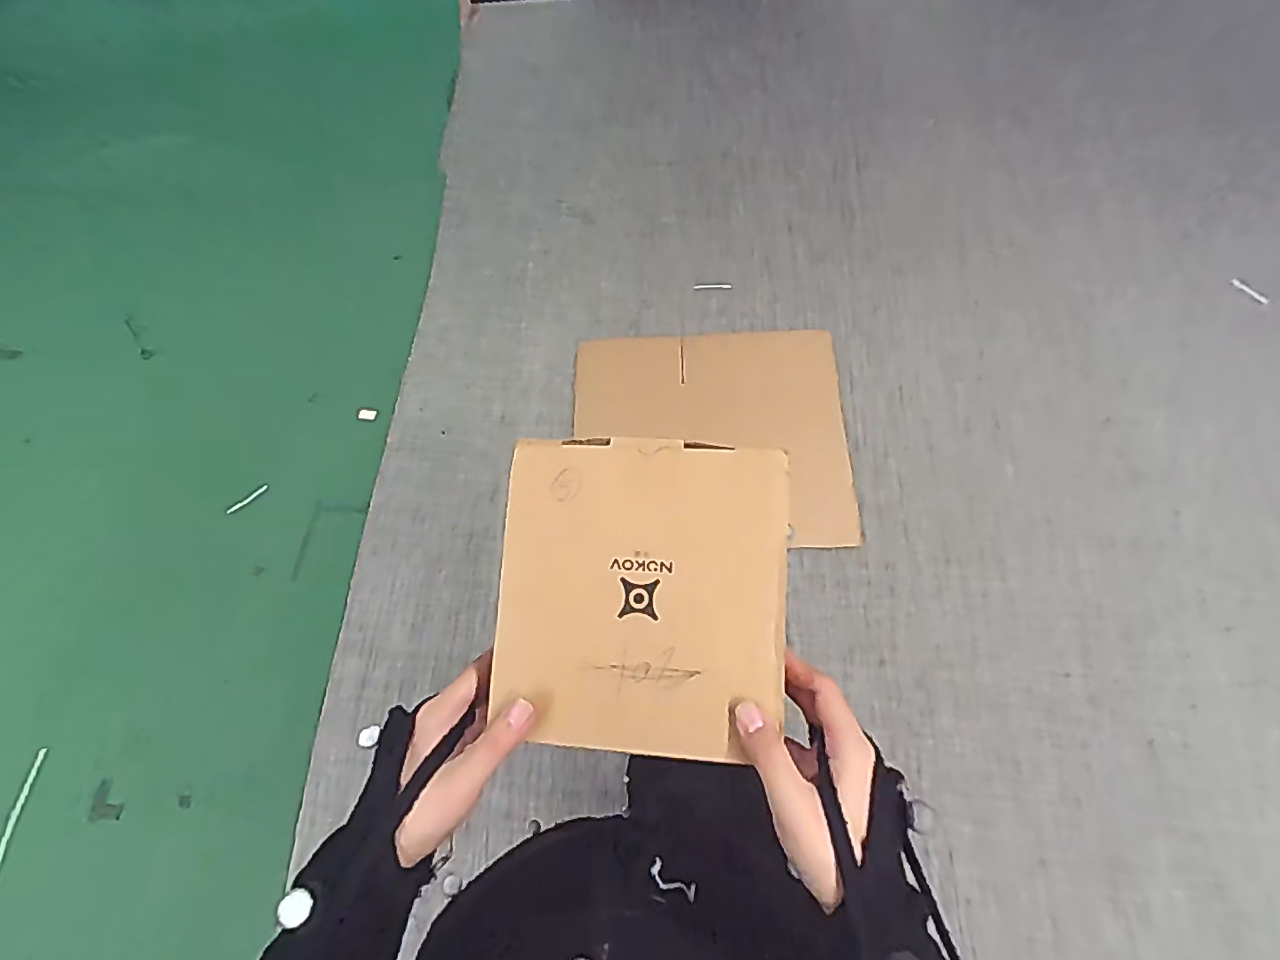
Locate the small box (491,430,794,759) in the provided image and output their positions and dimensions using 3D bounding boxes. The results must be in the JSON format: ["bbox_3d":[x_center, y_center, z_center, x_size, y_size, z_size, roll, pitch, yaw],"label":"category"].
[{"bbox_3d":[0.010,0.072,0.388,0.168,0.176,0.179,3,81,7],"label":"small box"}]
